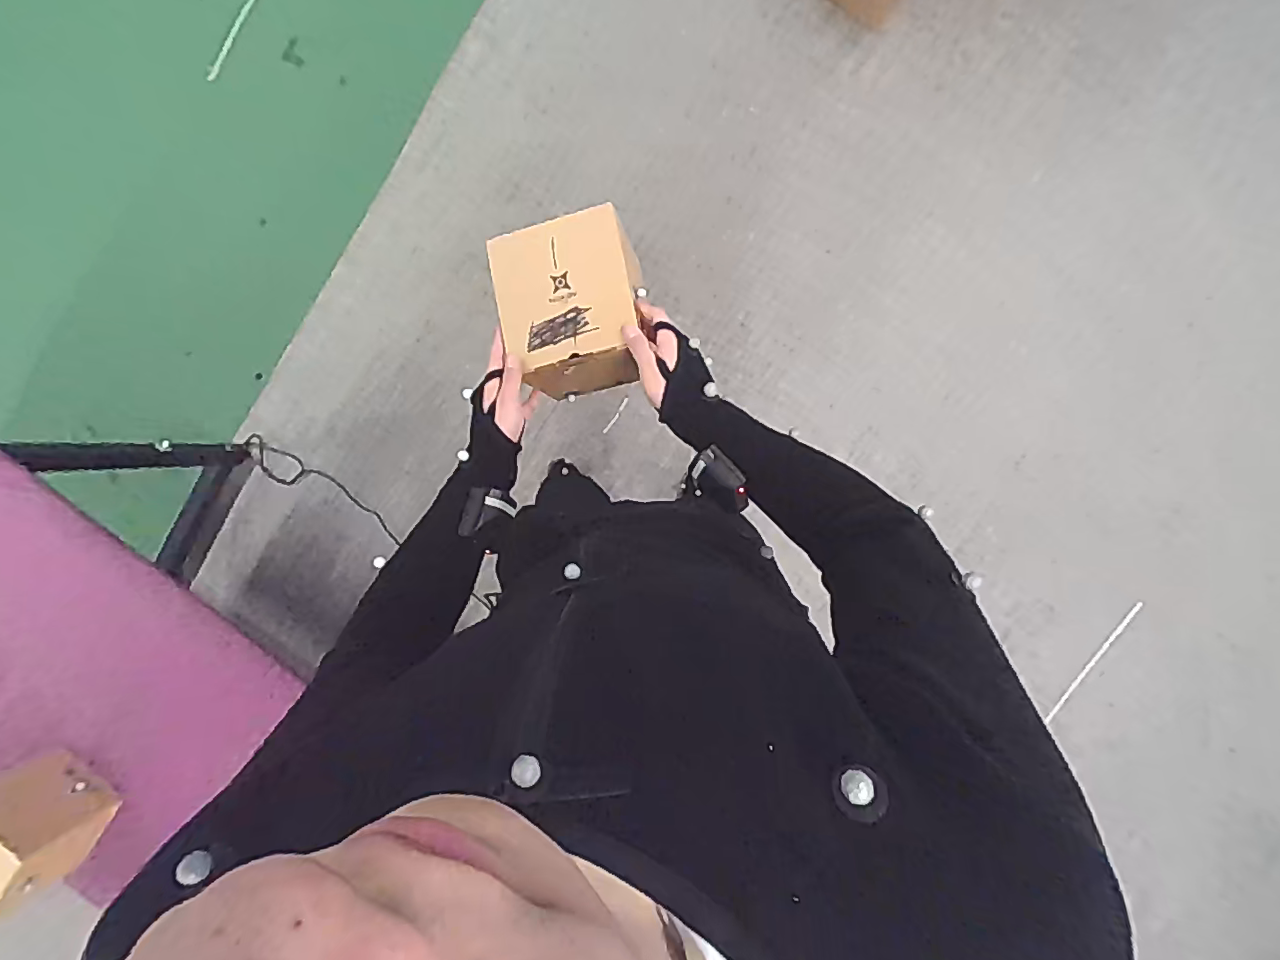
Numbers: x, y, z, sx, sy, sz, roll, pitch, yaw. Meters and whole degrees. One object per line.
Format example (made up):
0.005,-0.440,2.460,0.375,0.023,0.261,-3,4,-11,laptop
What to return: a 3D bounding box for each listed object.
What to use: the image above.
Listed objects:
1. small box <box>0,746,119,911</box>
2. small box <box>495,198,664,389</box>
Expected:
-1.099,0.623,0.959,0.168,0.176,0.179,37,95,2,small box
-0.070,-0.228,0.717,0.168,0.176,0.179,-11,85,10,small box
